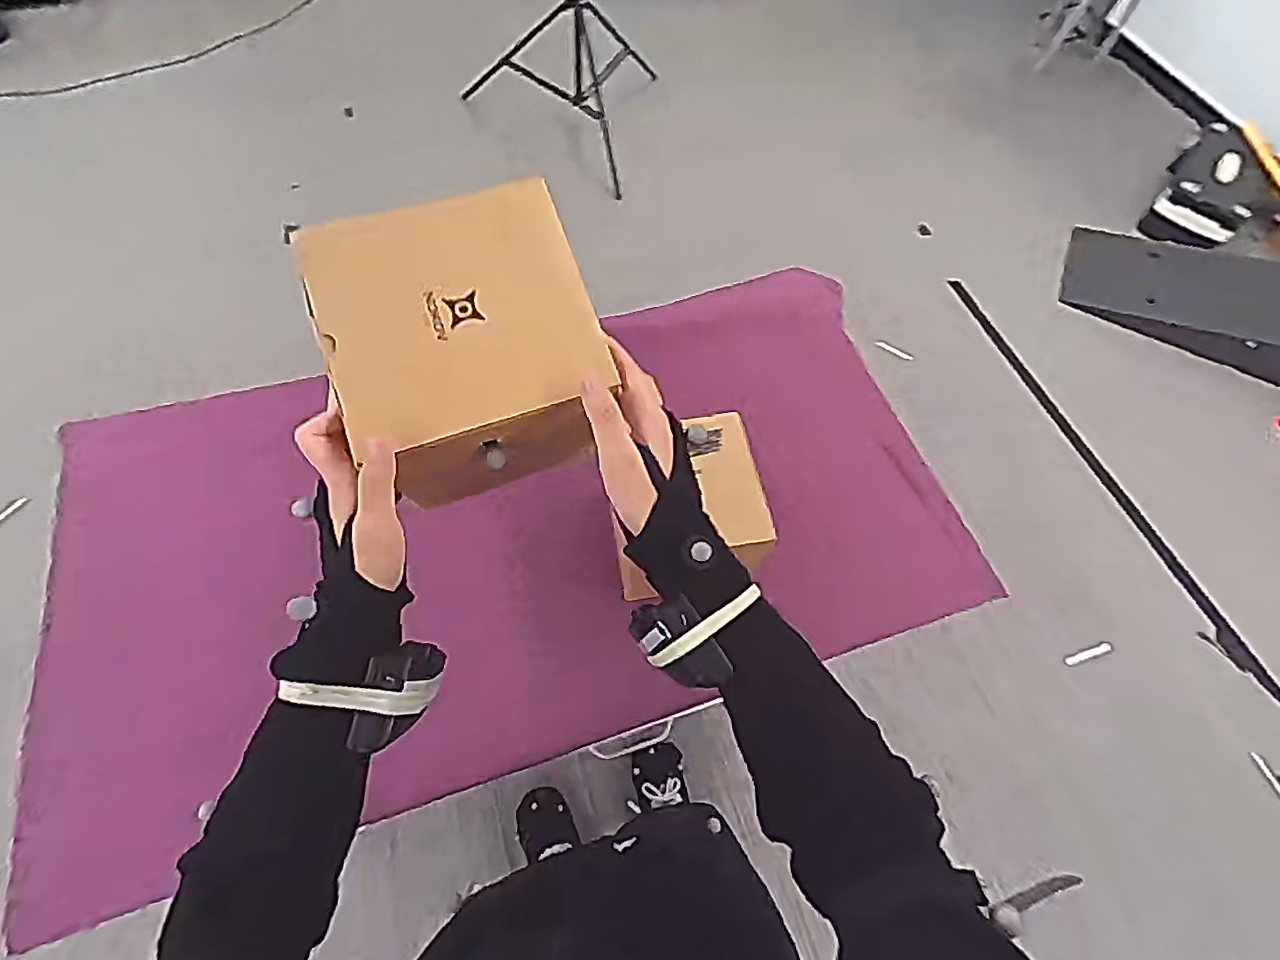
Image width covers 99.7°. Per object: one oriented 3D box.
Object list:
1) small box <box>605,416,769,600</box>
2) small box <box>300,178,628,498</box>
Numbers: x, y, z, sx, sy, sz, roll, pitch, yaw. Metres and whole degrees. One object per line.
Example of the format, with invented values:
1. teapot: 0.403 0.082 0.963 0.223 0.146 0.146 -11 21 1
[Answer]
1. small box: 0.046 0.040 0.705 0.168 0.176 0.179 -8 64 -8
2. small box: -0.124 -0.096 0.432 0.179 0.176 0.168 -19 82 -9
